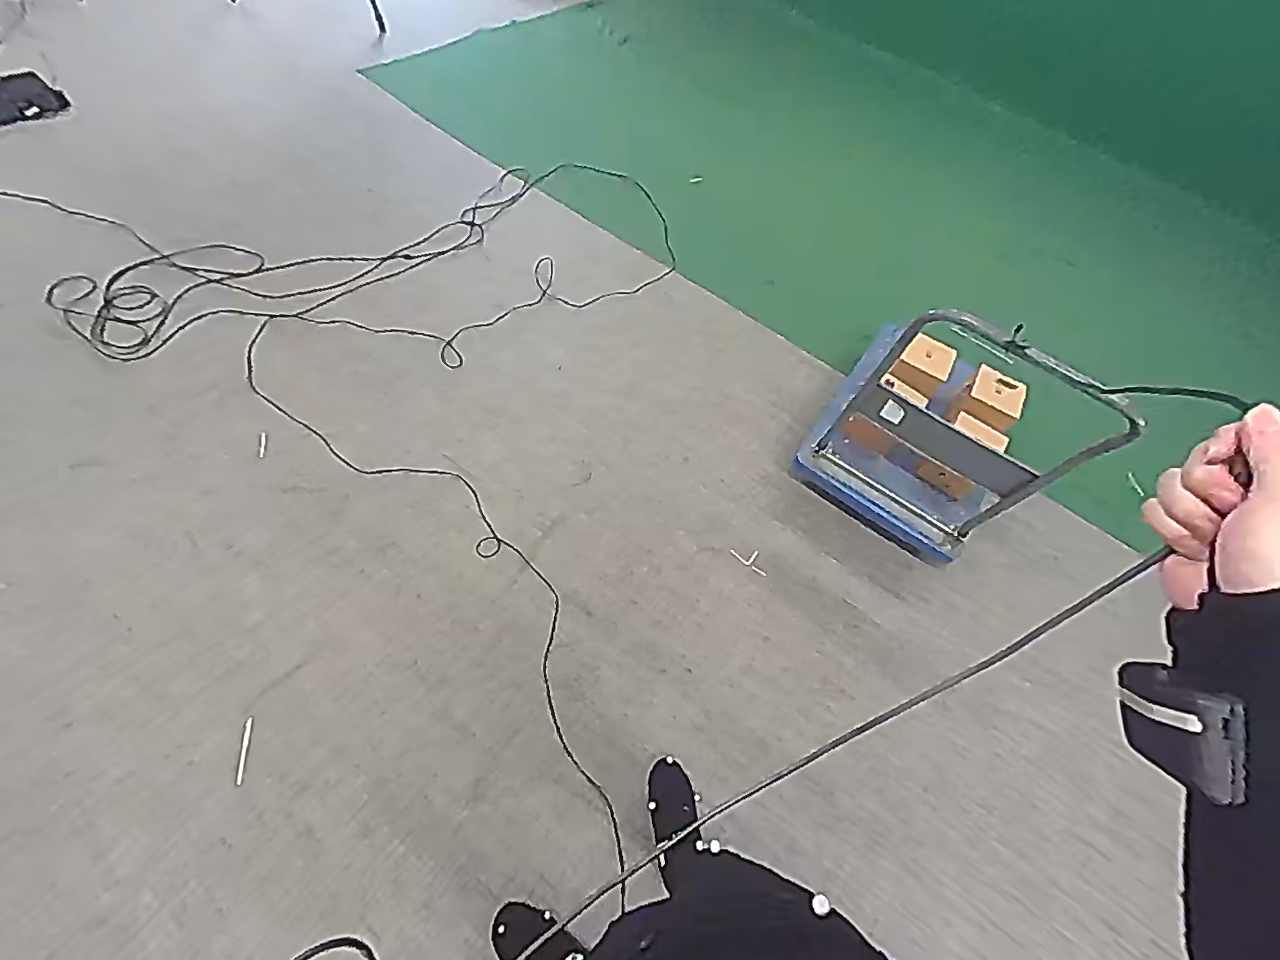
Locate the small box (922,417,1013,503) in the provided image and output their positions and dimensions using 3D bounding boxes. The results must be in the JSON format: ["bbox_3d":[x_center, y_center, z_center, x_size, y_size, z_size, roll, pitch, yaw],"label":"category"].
[{"bbox_3d":[1.039,-0.061,1.727,0.168,0.176,0.179,35,61,13],"label":"small box"}]

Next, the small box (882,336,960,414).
[{"bbox_3d":[0.983,-0.365,1.903,0.168,0.176,0.179,31,59,10],"label":"small box"}]

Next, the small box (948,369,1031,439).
[{"bbox_3d":[1.195,-0.238,1.858,0.168,0.176,0.179,31,60,11],"label":"small box"}]
